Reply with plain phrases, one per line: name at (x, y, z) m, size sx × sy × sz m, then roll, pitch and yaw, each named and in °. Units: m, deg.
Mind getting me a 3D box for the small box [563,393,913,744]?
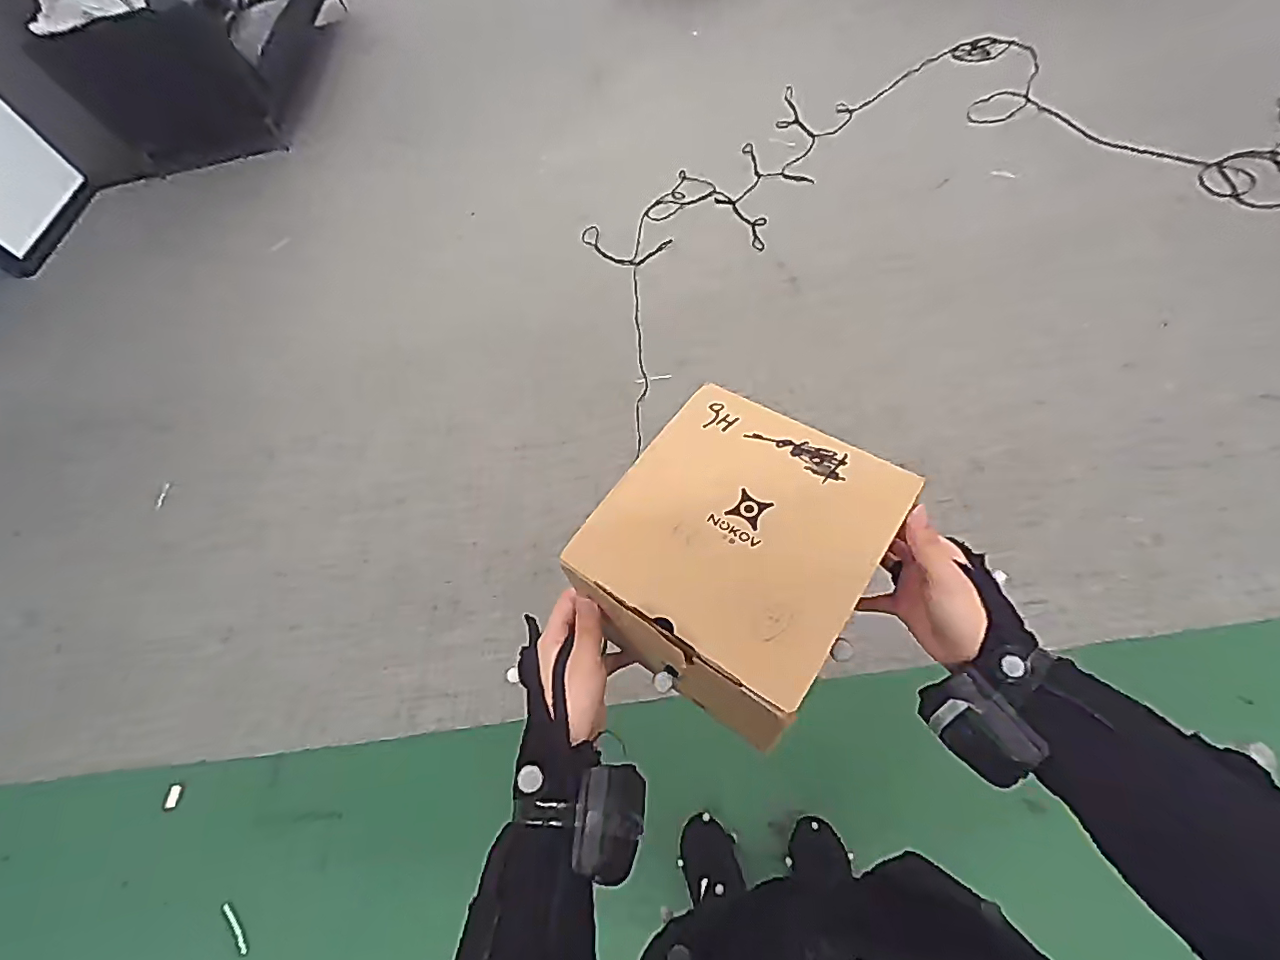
small box at (0.074, 0.073, 0.415) m, size 0.168 × 0.176 × 0.179 m, roll 30°, pitch 66°, yaw 24°
